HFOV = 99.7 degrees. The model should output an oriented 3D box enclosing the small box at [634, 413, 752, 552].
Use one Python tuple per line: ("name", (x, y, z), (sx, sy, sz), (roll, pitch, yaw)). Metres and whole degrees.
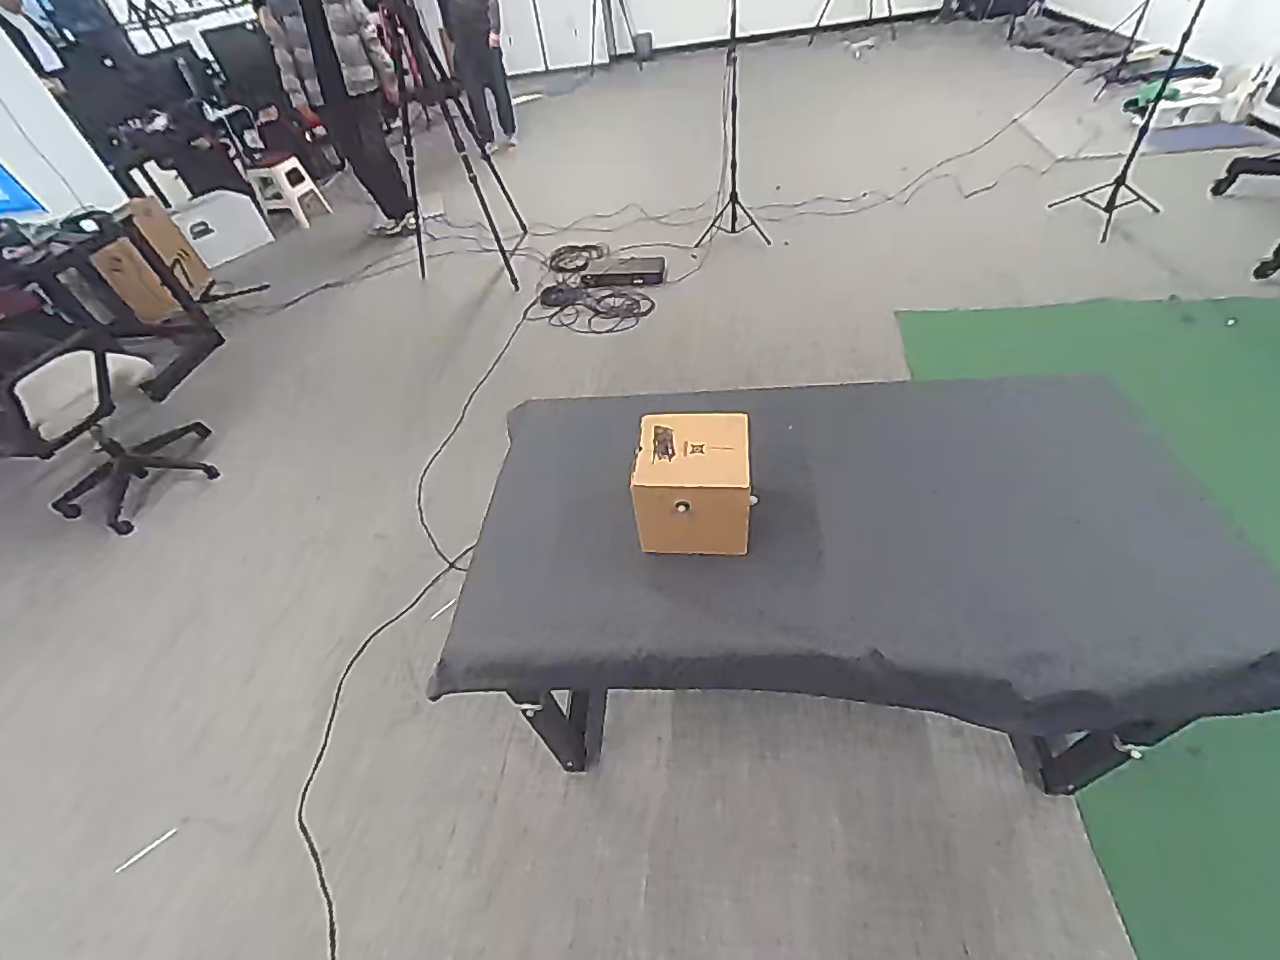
("small box", (0.095, 0.006, 0.901), (0.179, 0.176, 0.168), (1, 47, 9))
